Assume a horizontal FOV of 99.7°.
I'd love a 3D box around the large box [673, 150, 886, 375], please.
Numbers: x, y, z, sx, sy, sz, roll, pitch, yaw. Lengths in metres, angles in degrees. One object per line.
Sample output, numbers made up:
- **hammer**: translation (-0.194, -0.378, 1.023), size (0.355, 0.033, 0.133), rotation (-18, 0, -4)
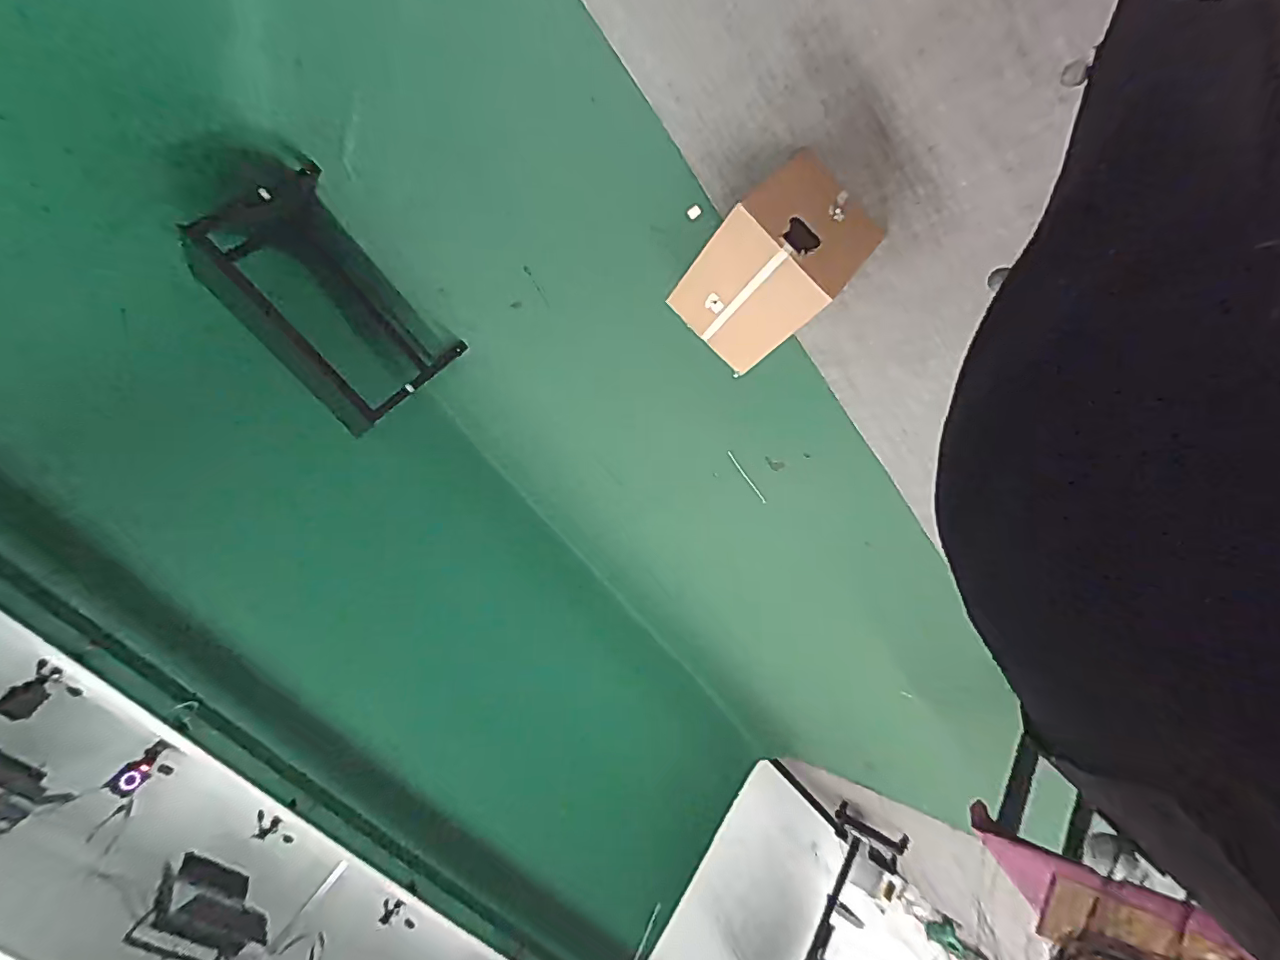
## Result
- **large box**: translation (0.360, -0.564, 1.454), size (0.320, 0.320, 0.408), rotation (44, 154, -4)
